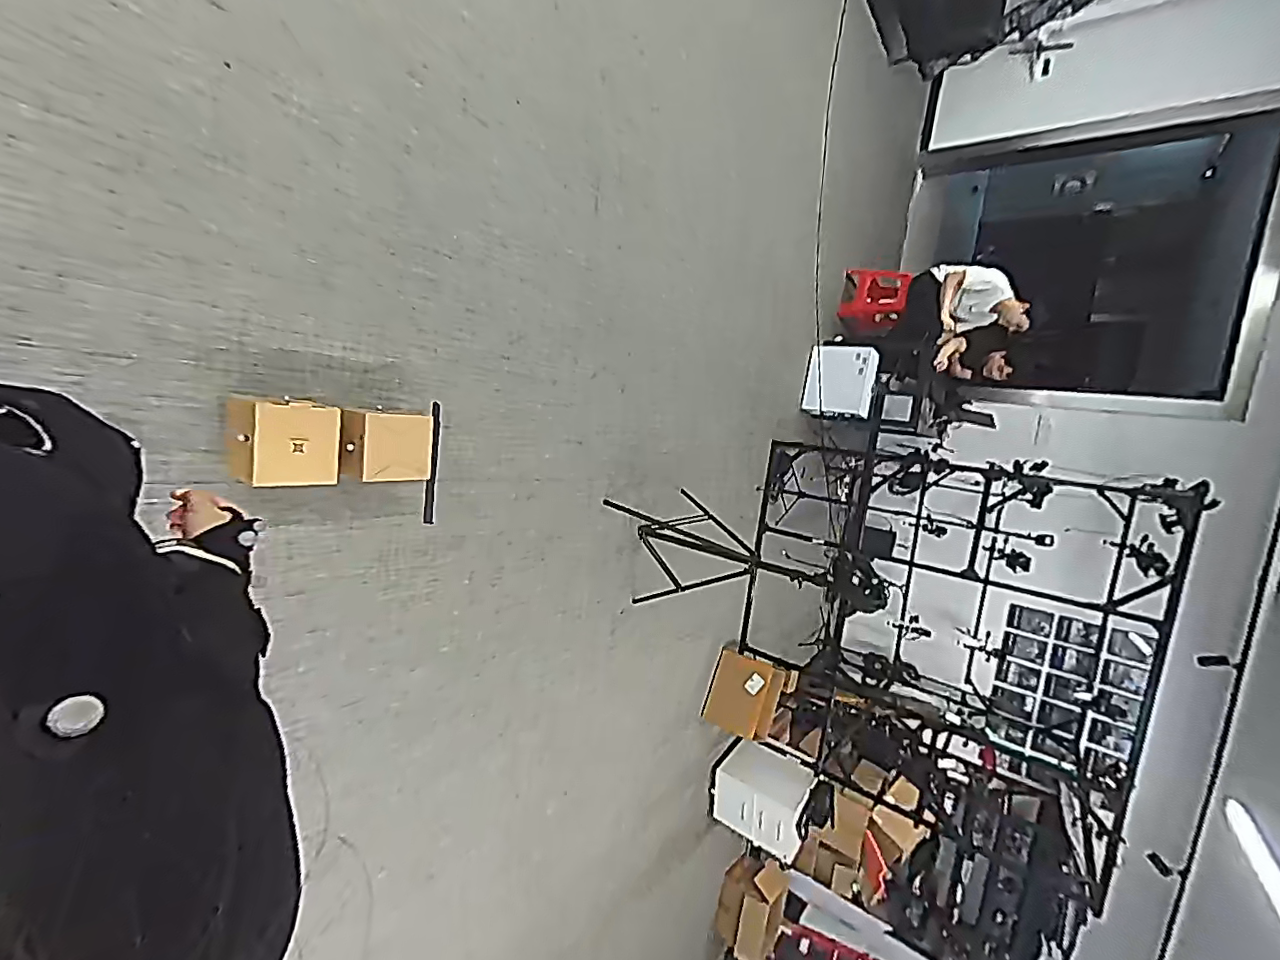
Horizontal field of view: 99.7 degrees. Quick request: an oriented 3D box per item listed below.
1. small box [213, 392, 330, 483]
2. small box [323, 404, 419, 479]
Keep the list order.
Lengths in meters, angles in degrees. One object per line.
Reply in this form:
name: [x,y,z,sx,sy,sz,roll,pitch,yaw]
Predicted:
small box: [-0.816,-0.093,1.195,0.168,0.176,0.179,-2,101,-54]
small box: [-0.681,-0.099,1.374,0.179,0.176,0.168,-4,103,-54]
